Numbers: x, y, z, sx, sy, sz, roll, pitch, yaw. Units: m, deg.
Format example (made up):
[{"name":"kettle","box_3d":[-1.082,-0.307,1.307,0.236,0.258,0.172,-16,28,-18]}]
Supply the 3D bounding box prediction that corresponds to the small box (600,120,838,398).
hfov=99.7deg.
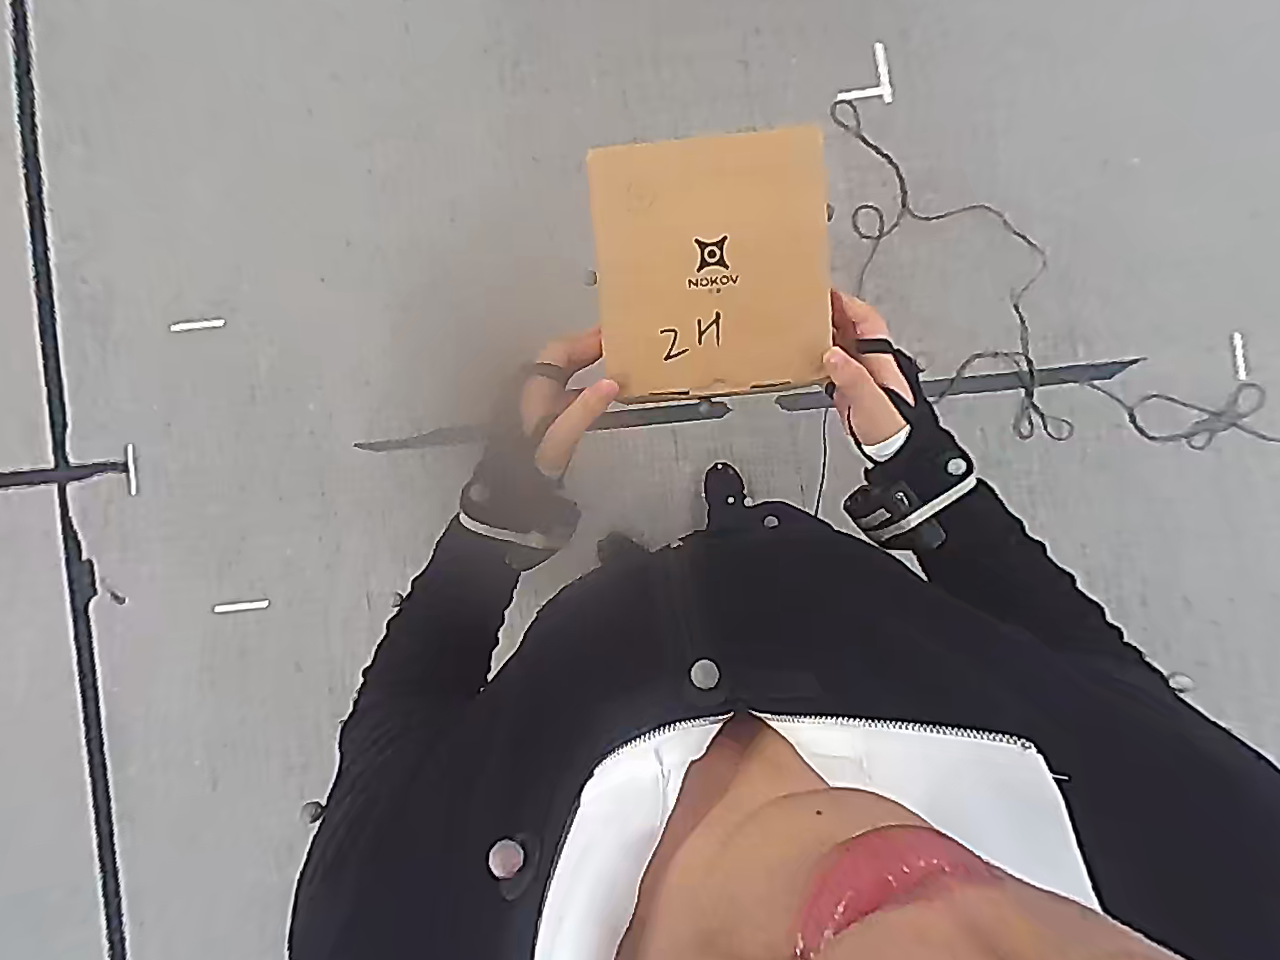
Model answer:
[{"name":"small box","box_3d":[0.060,-0.167,0.464,0.168,0.176,0.179,-4,96,3]}]
